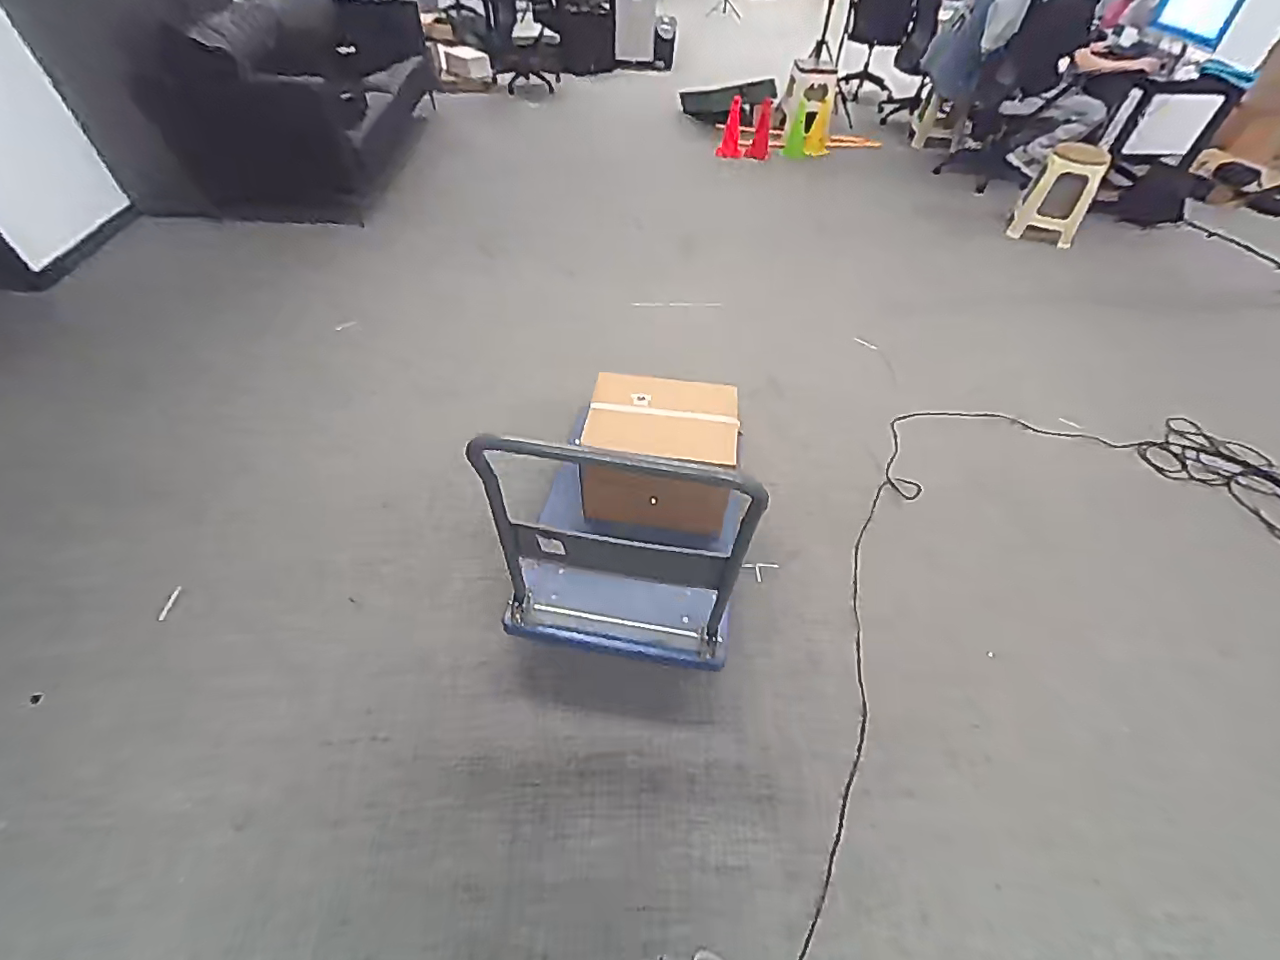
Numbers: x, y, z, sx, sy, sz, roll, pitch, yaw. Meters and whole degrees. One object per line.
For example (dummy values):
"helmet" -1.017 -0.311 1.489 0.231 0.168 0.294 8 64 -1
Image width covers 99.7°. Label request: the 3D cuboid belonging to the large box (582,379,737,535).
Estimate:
"large box" 0.063 -0.064 1.581 0.408 0.320 0.320 7 48 4
